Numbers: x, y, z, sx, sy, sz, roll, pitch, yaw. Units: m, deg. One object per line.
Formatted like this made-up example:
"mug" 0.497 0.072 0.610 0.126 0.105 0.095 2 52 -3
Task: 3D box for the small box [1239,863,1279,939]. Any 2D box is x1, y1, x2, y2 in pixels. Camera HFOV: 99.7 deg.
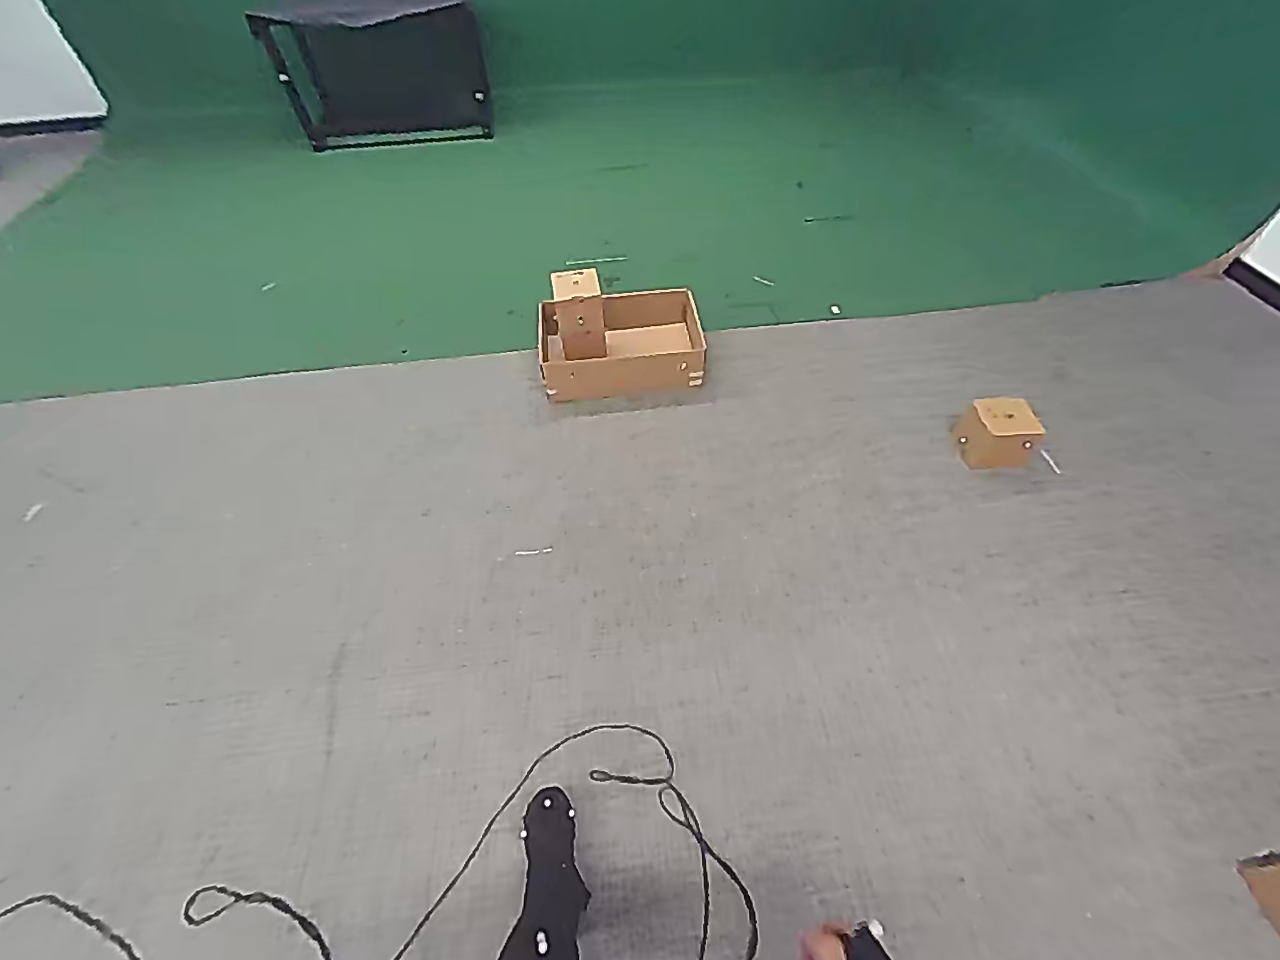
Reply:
"small box" 1.360 0.845 1.044 0.168 0.176 0.179 -6 52 -2

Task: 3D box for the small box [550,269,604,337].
"small box" -0.227 -0.638 1.968 0.168 0.176 0.179 -8 54 -5

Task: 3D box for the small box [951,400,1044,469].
"small box" 1.191 -0.150 1.816 0.179 0.176 0.168 -2 52 0
